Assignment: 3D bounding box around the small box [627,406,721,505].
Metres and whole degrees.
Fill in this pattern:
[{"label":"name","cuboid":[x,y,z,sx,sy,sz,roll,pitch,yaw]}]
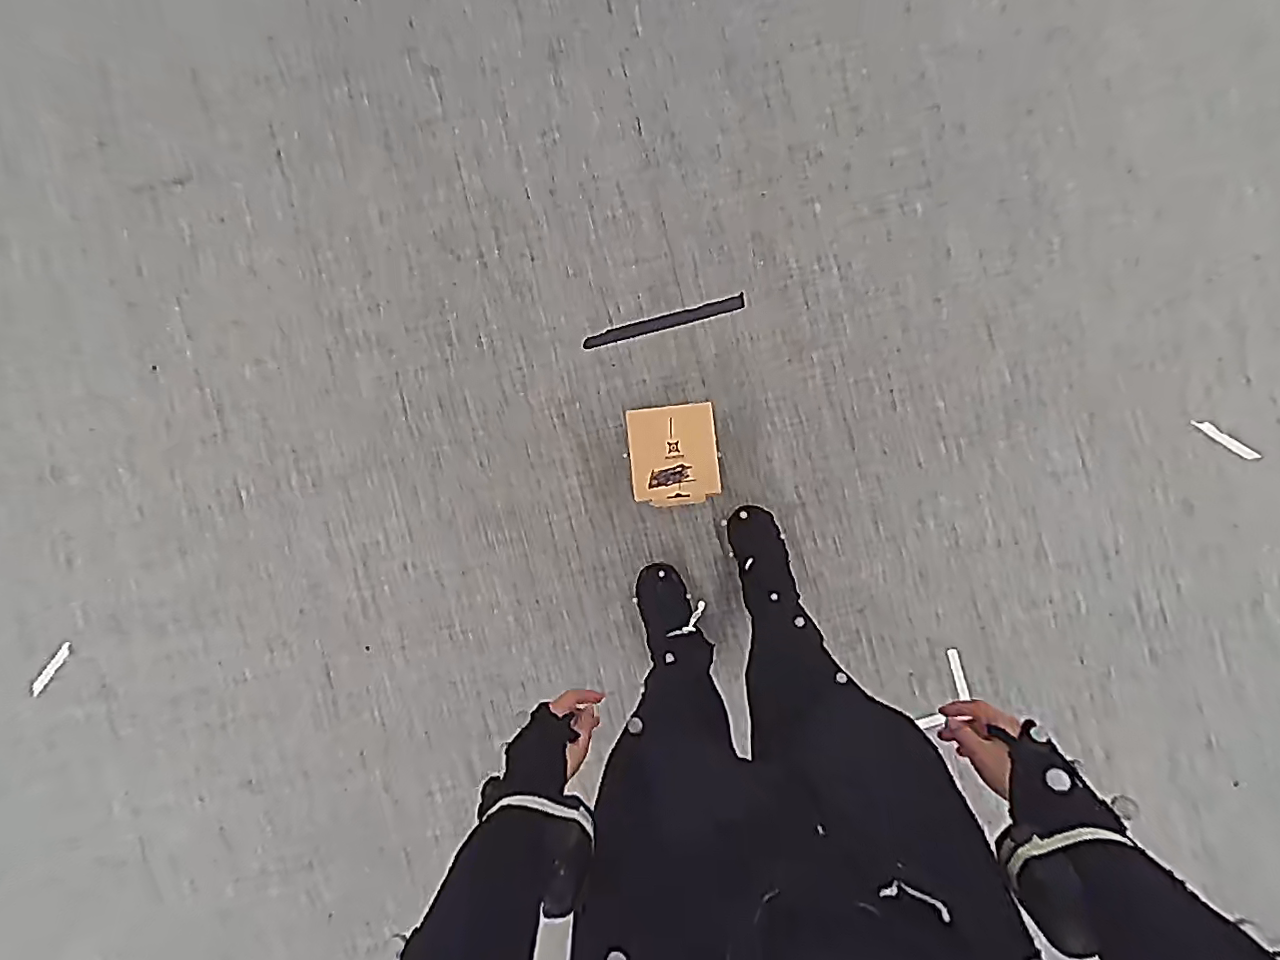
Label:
[{"label":"small box","cuboid":[0.066,-0.046,1.096,0.168,0.176,0.179,-6,89,0]}]
